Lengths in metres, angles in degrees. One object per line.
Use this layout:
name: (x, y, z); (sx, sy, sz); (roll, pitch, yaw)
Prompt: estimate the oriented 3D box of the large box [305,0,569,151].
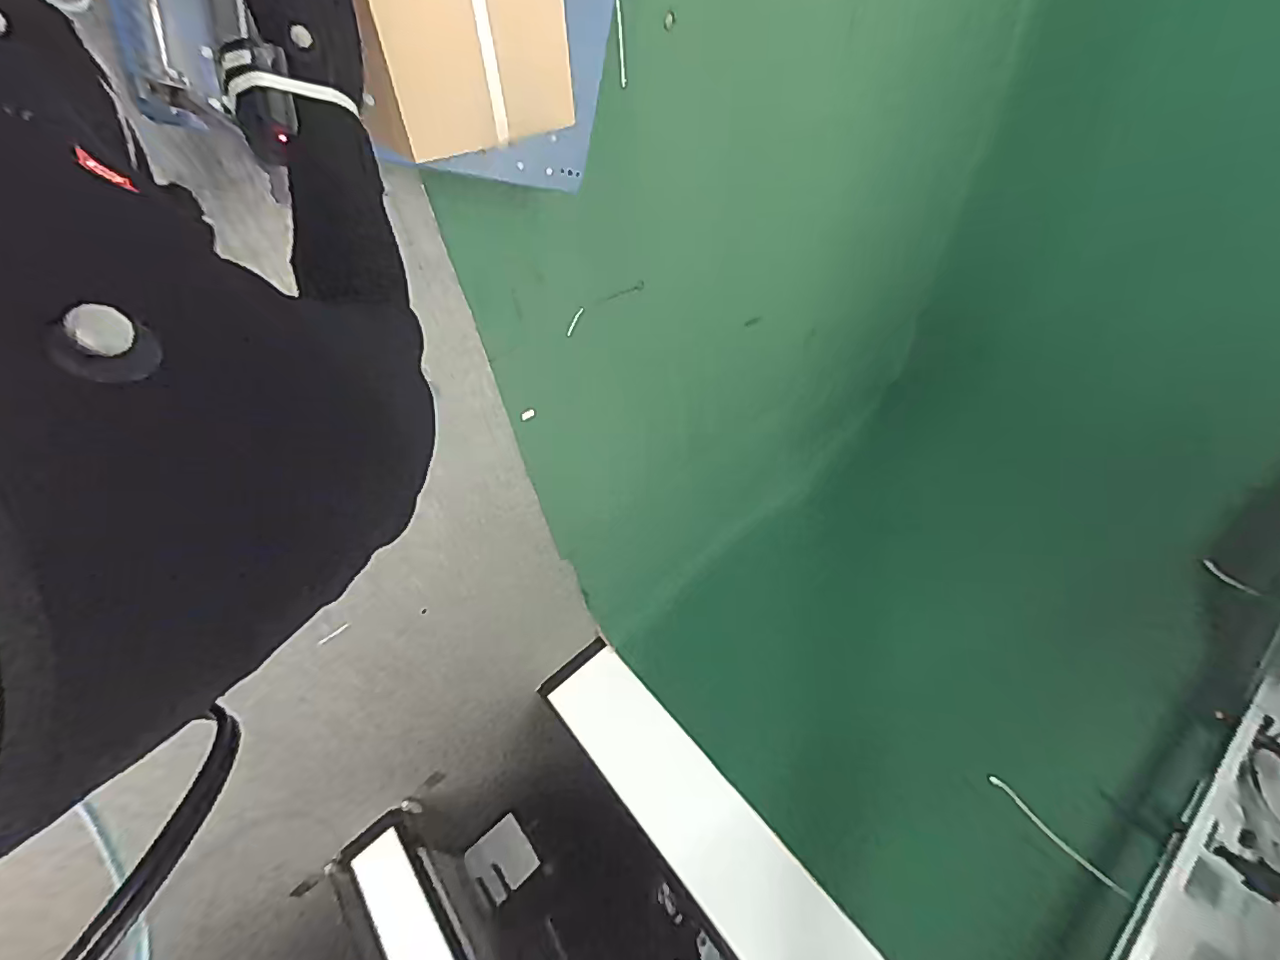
large box: (-0.347, -0.804, 0.853); (0.320, 0.320, 0.408); (-32, 142, -26)
